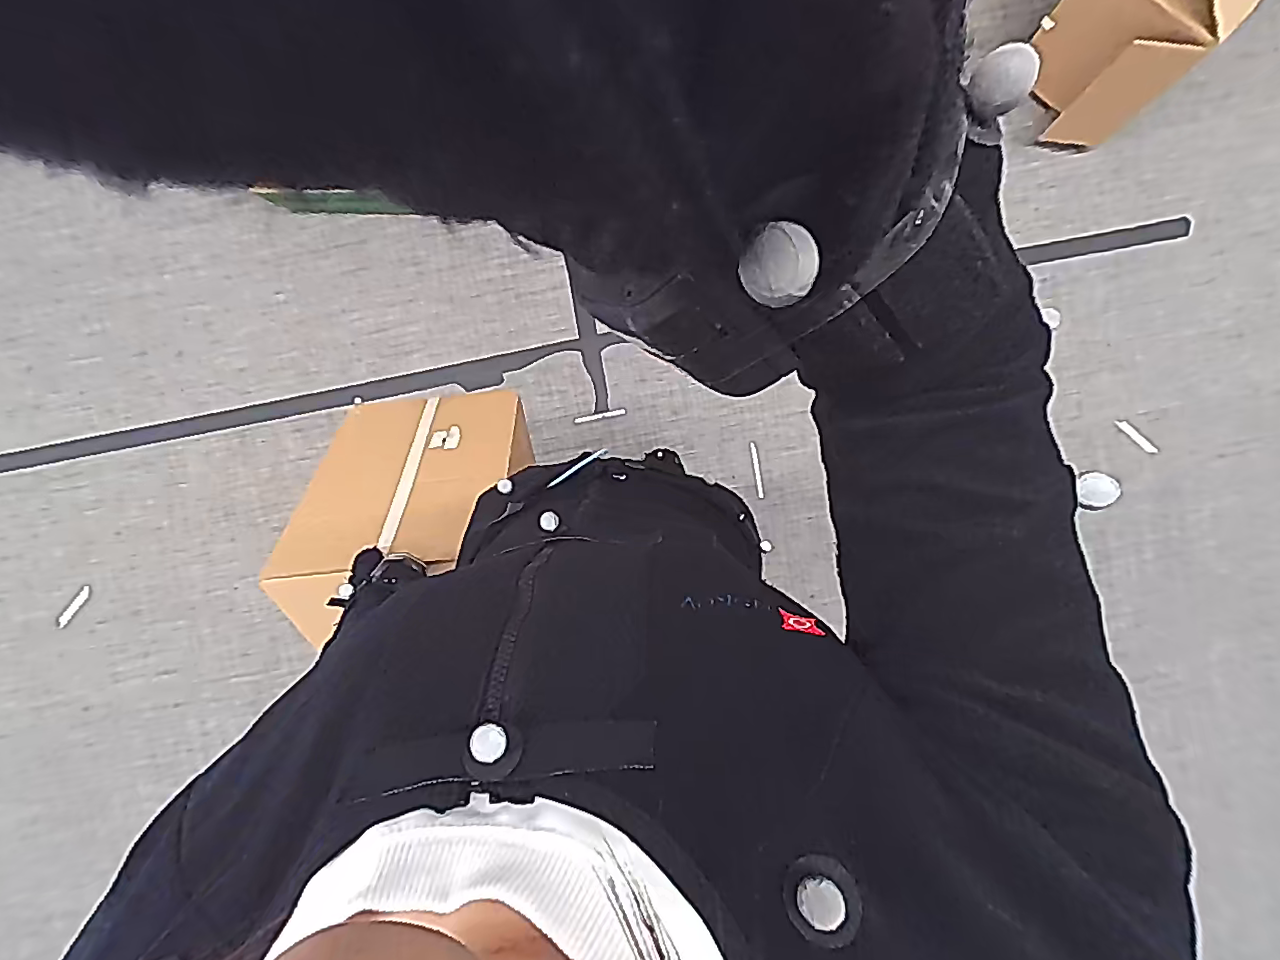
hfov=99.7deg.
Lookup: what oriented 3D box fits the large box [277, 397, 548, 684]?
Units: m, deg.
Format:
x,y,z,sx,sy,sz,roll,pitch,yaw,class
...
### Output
x,y,z,sx,sy,sz,roll,pitch,yaw,class
-0.352,0.098,0.980,0.320,0.408,0.320,-5,132,-1,large box
